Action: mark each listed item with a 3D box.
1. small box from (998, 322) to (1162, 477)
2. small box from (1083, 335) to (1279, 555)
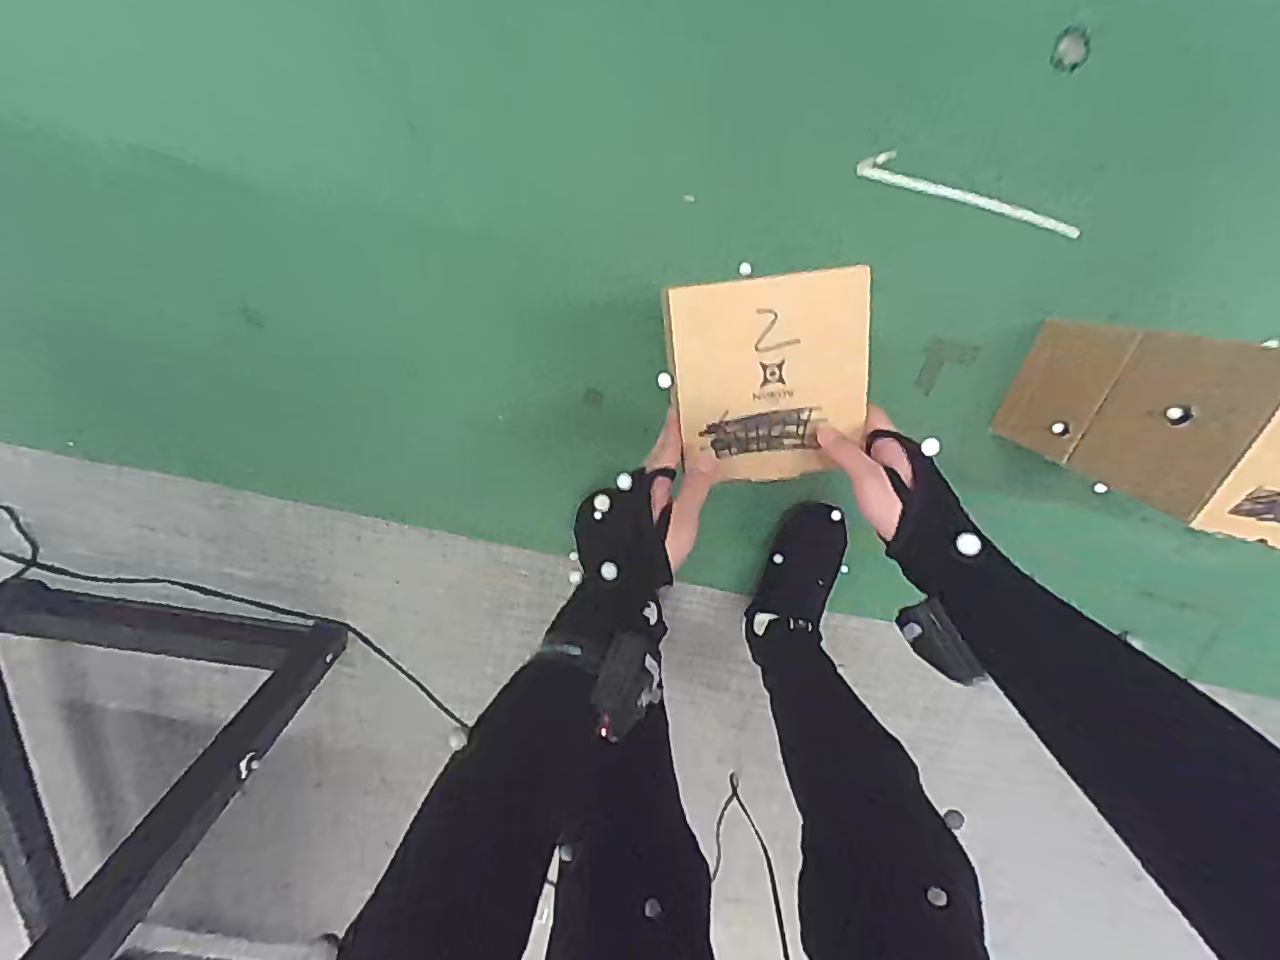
[{"bbox_3d":[0.633,-0.102,0.726,0.168,0.176,0.179,14,112,-6],"label":"small box"},{"bbox_3d":[0.632,-0.040,0.573,0.168,0.176,0.179,15,111,-6],"label":"small box"}]
